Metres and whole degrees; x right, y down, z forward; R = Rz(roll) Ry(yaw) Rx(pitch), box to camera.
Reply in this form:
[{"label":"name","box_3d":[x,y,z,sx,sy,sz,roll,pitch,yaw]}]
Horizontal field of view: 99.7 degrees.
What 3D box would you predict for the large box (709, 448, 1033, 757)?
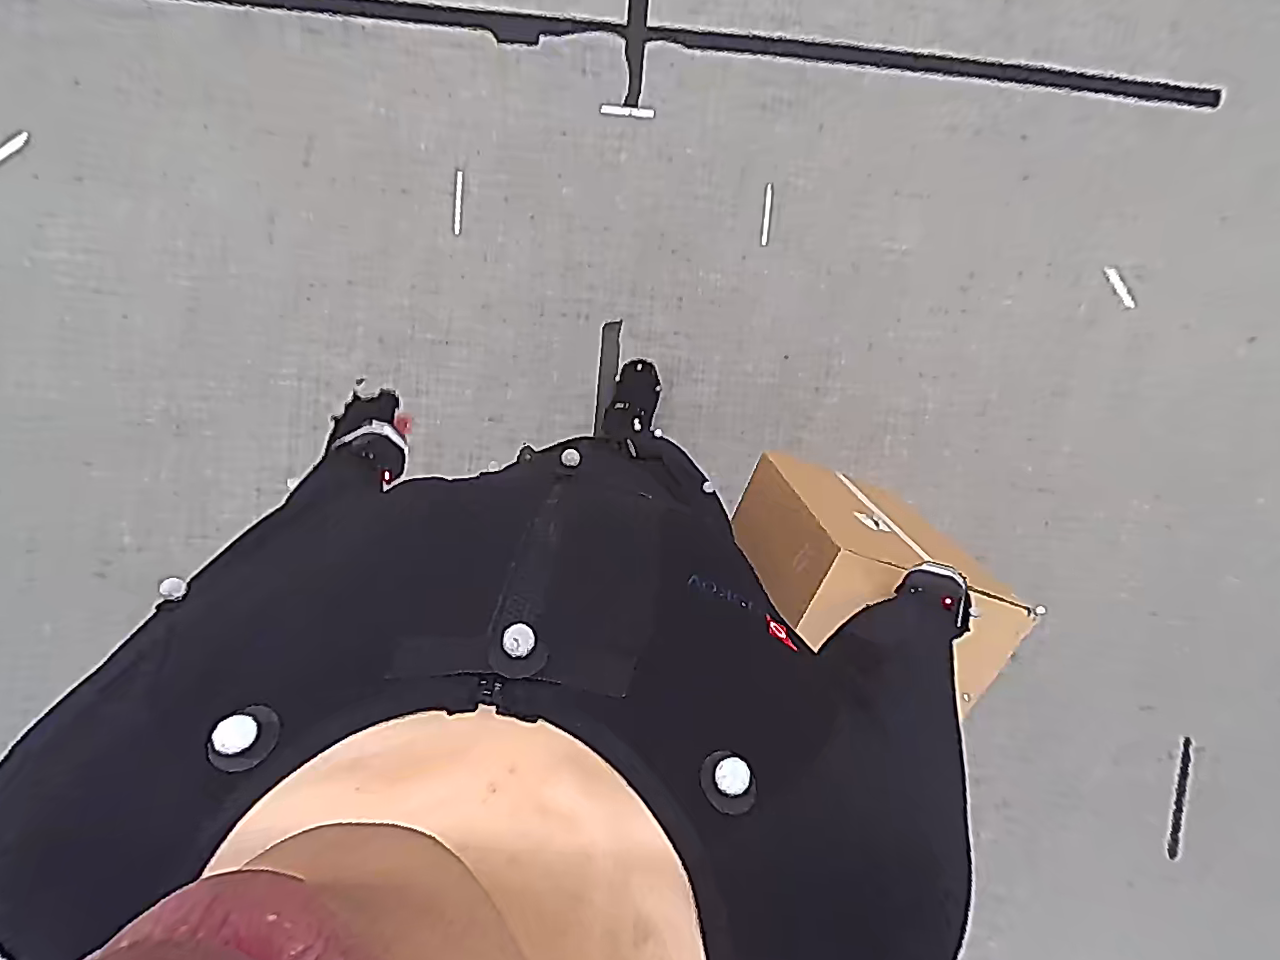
[{"label":"large box","box_3d":[0.347,0.191,0.961,0.320,0.408,0.320,18,111,-9]}]
